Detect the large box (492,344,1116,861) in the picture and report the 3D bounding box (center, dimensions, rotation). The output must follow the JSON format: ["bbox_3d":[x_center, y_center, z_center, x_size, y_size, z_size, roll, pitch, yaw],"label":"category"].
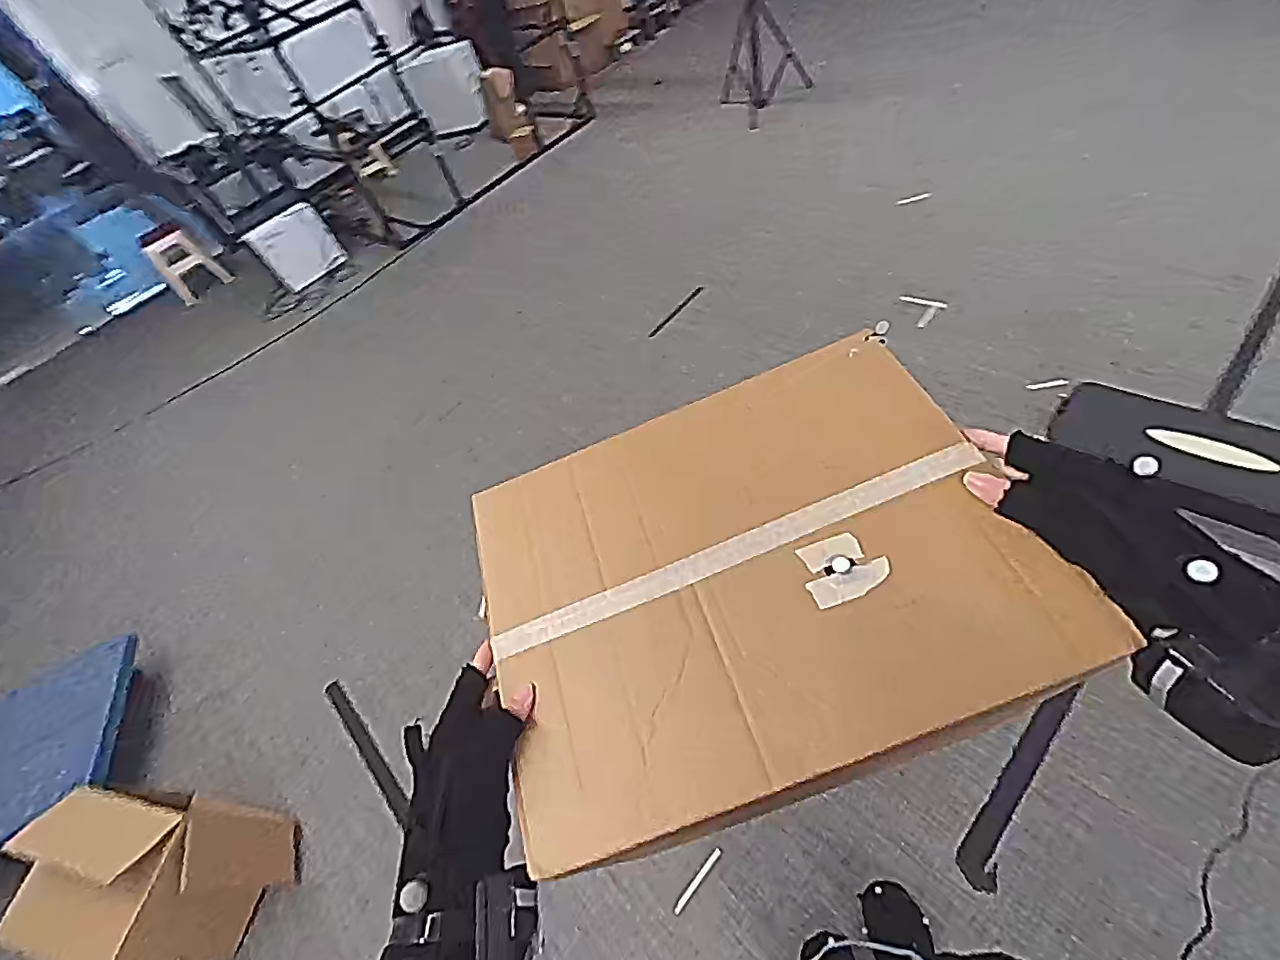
[{"bbox_3d":[0.115,0.138,0.556,0.408,0.320,0.320,-22,56,2],"label":"large box"}]
